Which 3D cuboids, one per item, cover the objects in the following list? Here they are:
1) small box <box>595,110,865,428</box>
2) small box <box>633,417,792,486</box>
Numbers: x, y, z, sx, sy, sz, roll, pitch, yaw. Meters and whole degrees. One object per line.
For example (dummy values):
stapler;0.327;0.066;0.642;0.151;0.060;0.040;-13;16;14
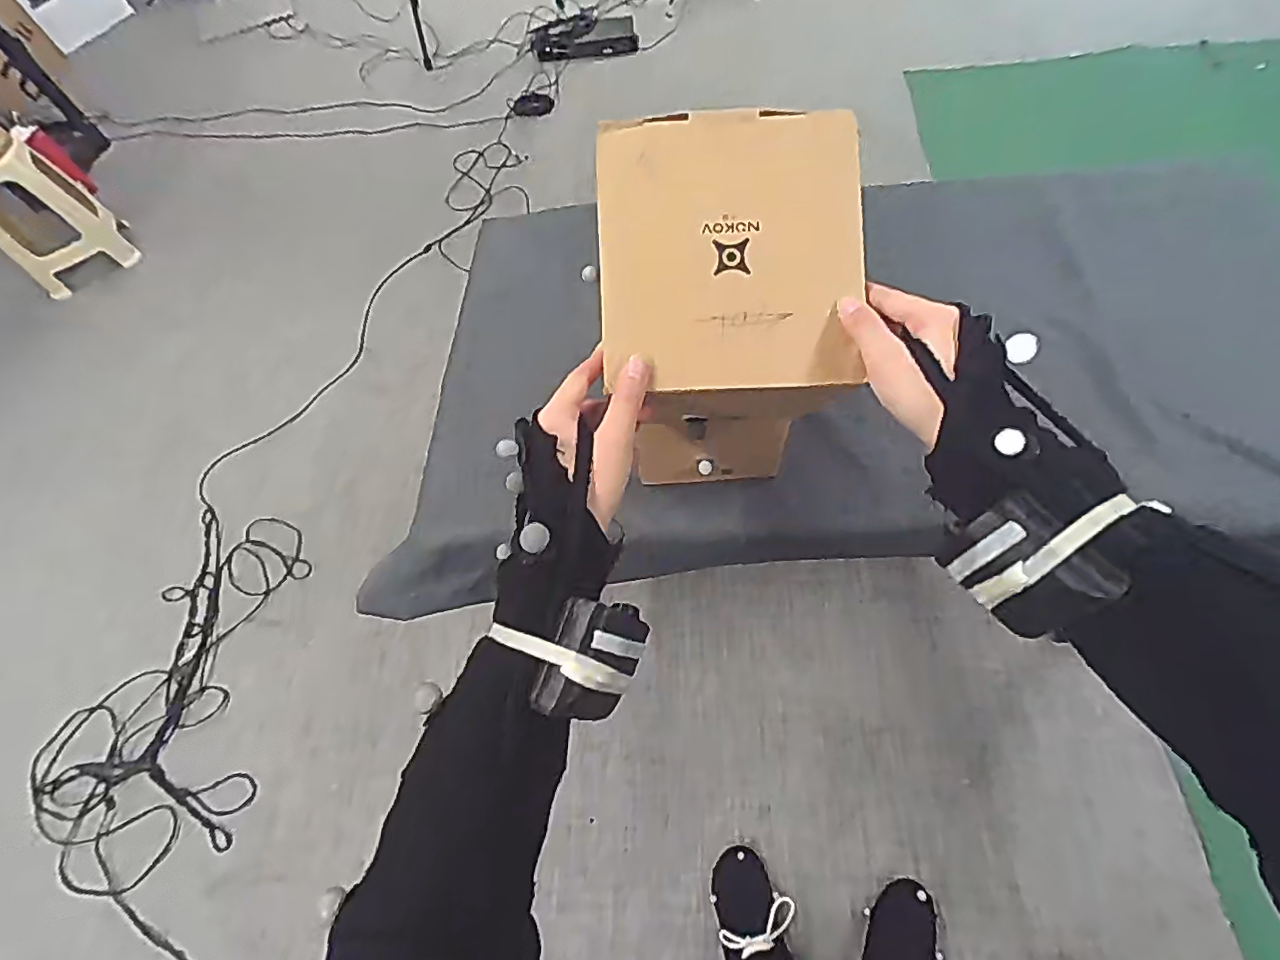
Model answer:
small box;0.054;-0.140;0.414;0.168;0.176;0.179;-2;88;1
small box;0.073;-0.110;0.627;0.168;0.176;0.179;-4;62;4
